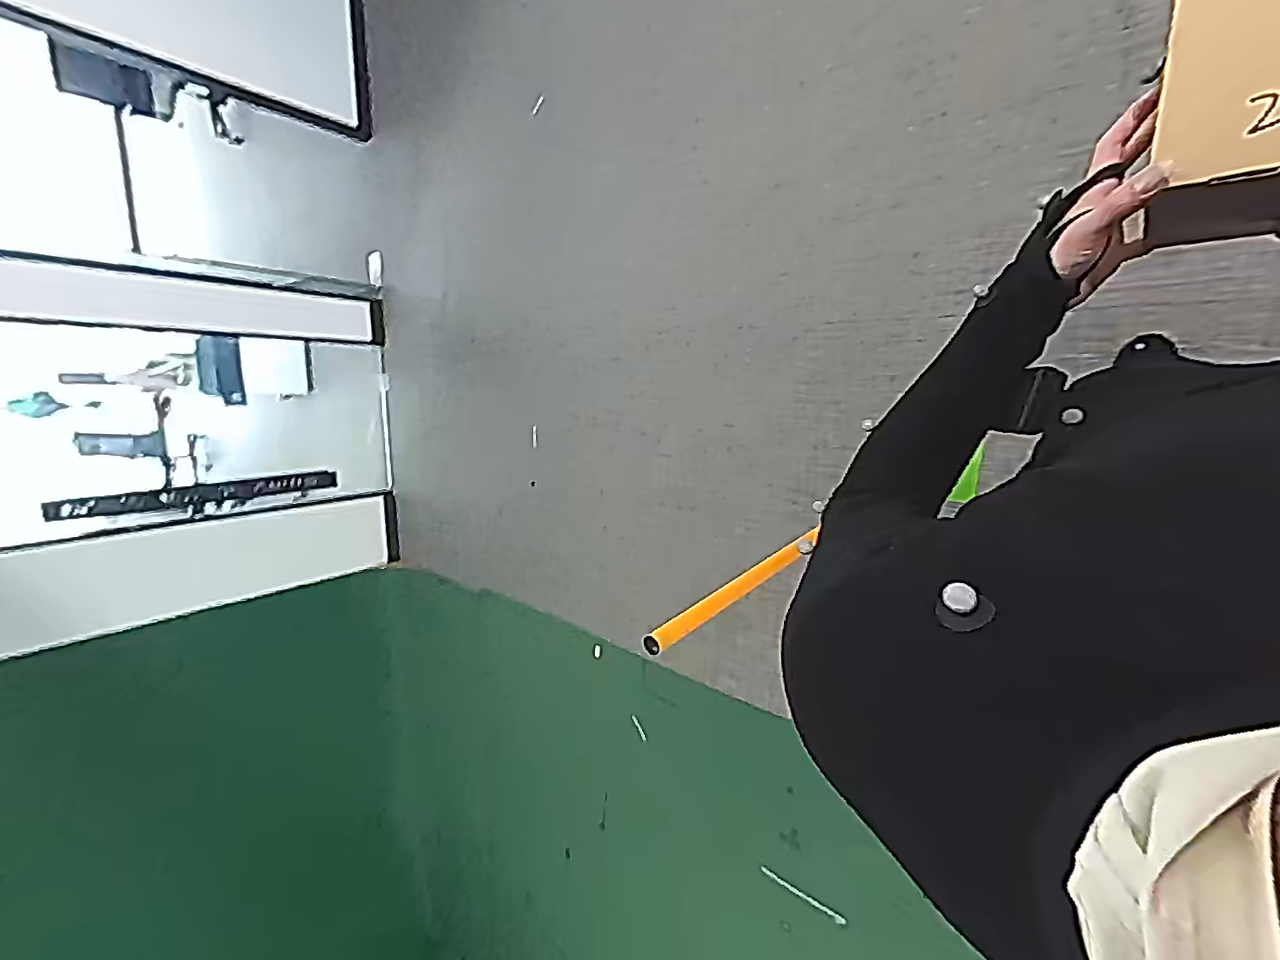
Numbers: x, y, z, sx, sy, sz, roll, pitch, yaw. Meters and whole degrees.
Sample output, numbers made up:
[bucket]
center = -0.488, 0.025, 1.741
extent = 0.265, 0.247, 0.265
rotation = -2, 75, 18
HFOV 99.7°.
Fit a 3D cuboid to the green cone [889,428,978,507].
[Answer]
[green cone]
center = 0.683, -0.014, 1.330
extent = 0.202, 0.368, 0.200
rotation = 11, 104, 37
